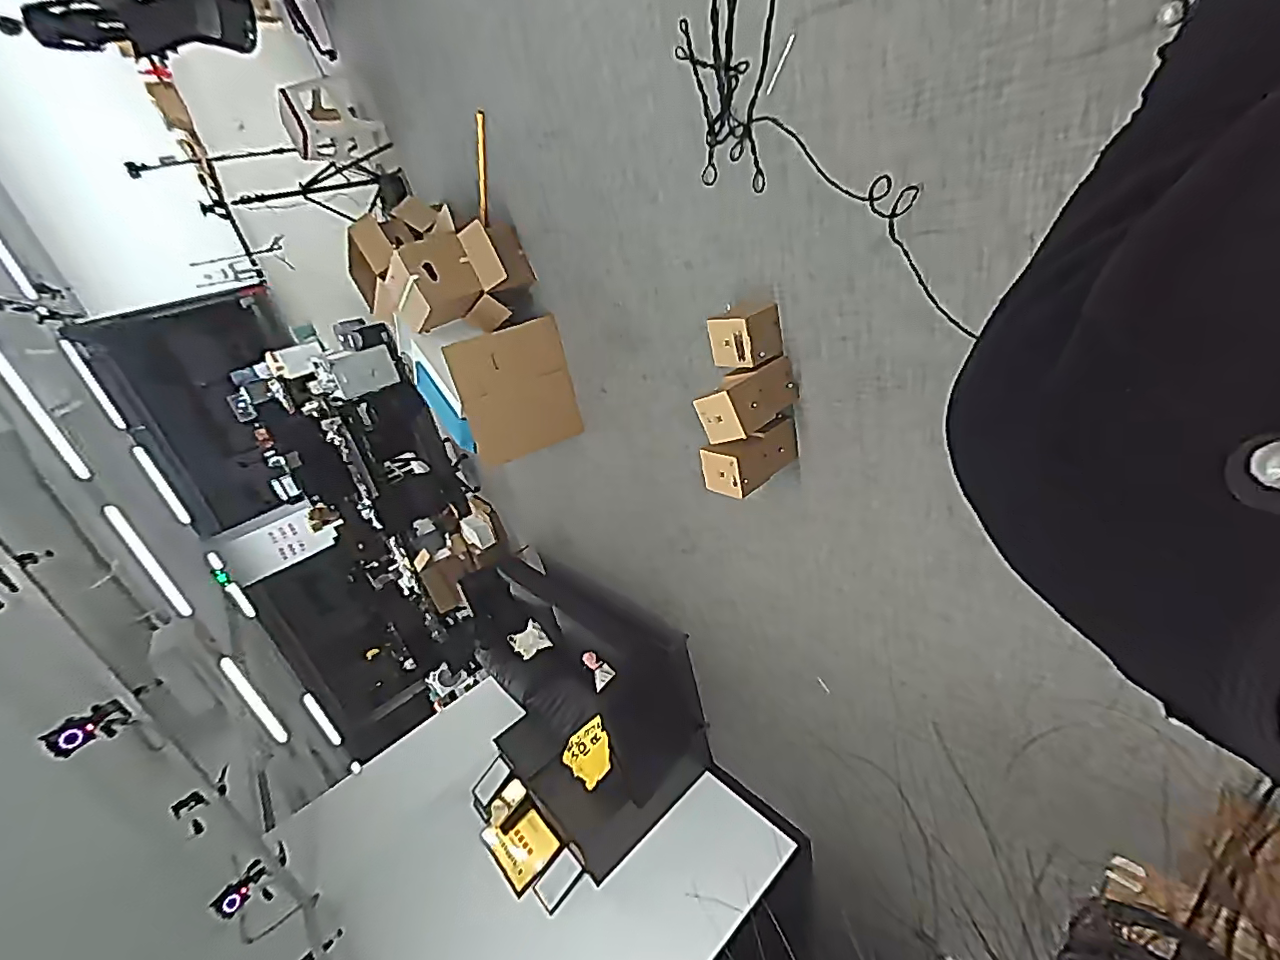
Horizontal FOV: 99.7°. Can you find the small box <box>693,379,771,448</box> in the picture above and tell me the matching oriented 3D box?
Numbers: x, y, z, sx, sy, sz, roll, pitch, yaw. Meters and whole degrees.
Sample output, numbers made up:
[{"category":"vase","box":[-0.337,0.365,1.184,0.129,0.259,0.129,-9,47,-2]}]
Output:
[{"category":"small box","box":[0.317,-0.224,1.818,0.179,0.176,0.168,-8,110,58]}]

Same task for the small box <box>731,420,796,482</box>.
[{"category":"small box","box":[0.462,-0.119,2.014,0.168,0.176,0.179,17,130,49]}]
